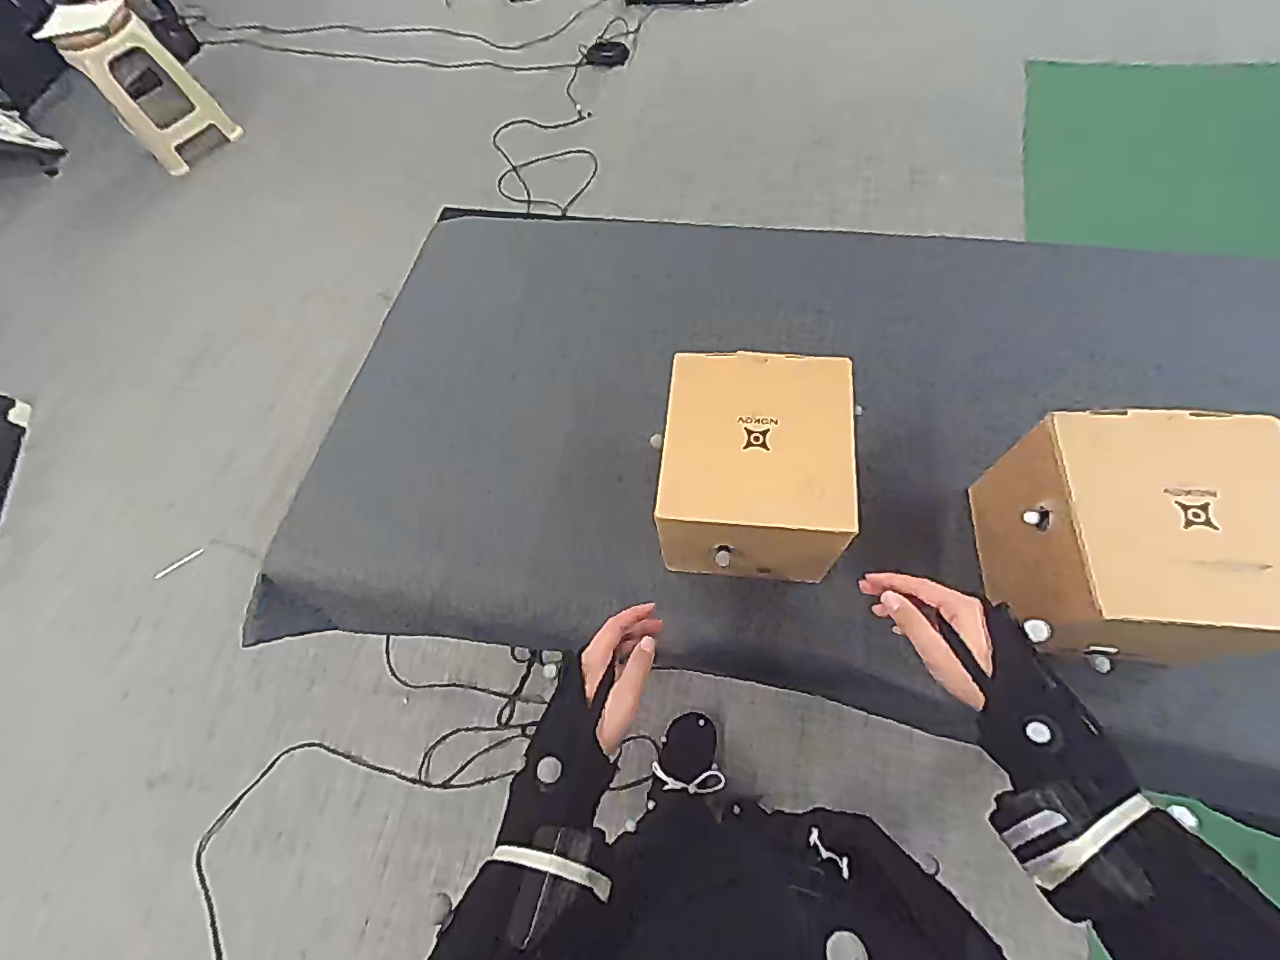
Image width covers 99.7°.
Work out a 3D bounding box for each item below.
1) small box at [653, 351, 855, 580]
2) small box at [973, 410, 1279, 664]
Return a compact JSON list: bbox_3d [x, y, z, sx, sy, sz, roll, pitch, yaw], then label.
[{"bbox_3d":[0.111,-0.006,0.544,0.168,0.176,0.179,4,65,9],"label":"small box"},{"bbox_3d":[0.425,0.056,0.479,0.168,0.176,0.179,2,66,9],"label":"small box"}]
